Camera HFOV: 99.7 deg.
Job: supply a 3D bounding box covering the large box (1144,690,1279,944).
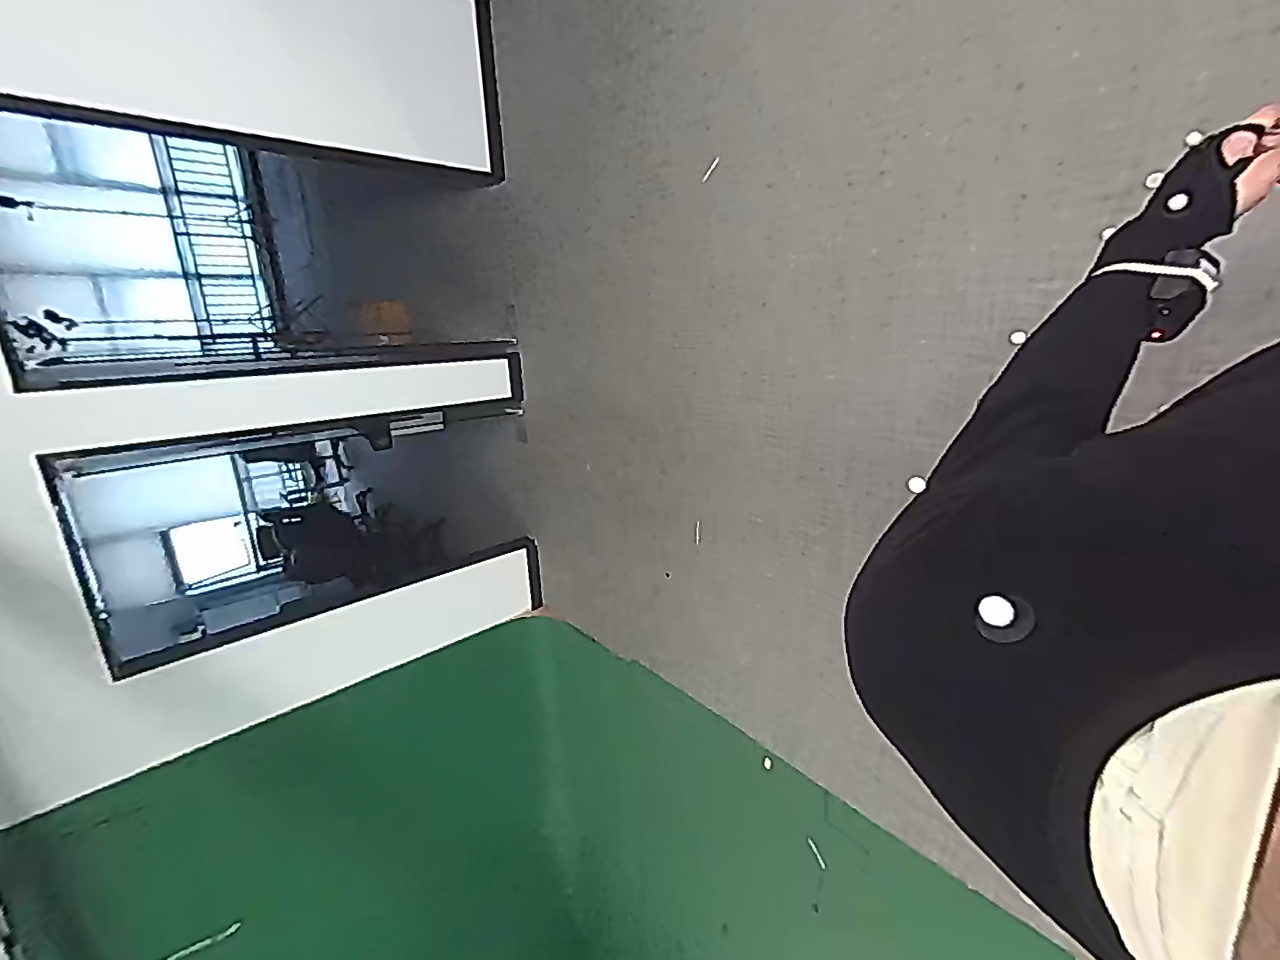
[{"bbox_3d":[1.294,0.683,1.042,0.408,0.320,0.320,14,111,48],"label":"large box"}]
